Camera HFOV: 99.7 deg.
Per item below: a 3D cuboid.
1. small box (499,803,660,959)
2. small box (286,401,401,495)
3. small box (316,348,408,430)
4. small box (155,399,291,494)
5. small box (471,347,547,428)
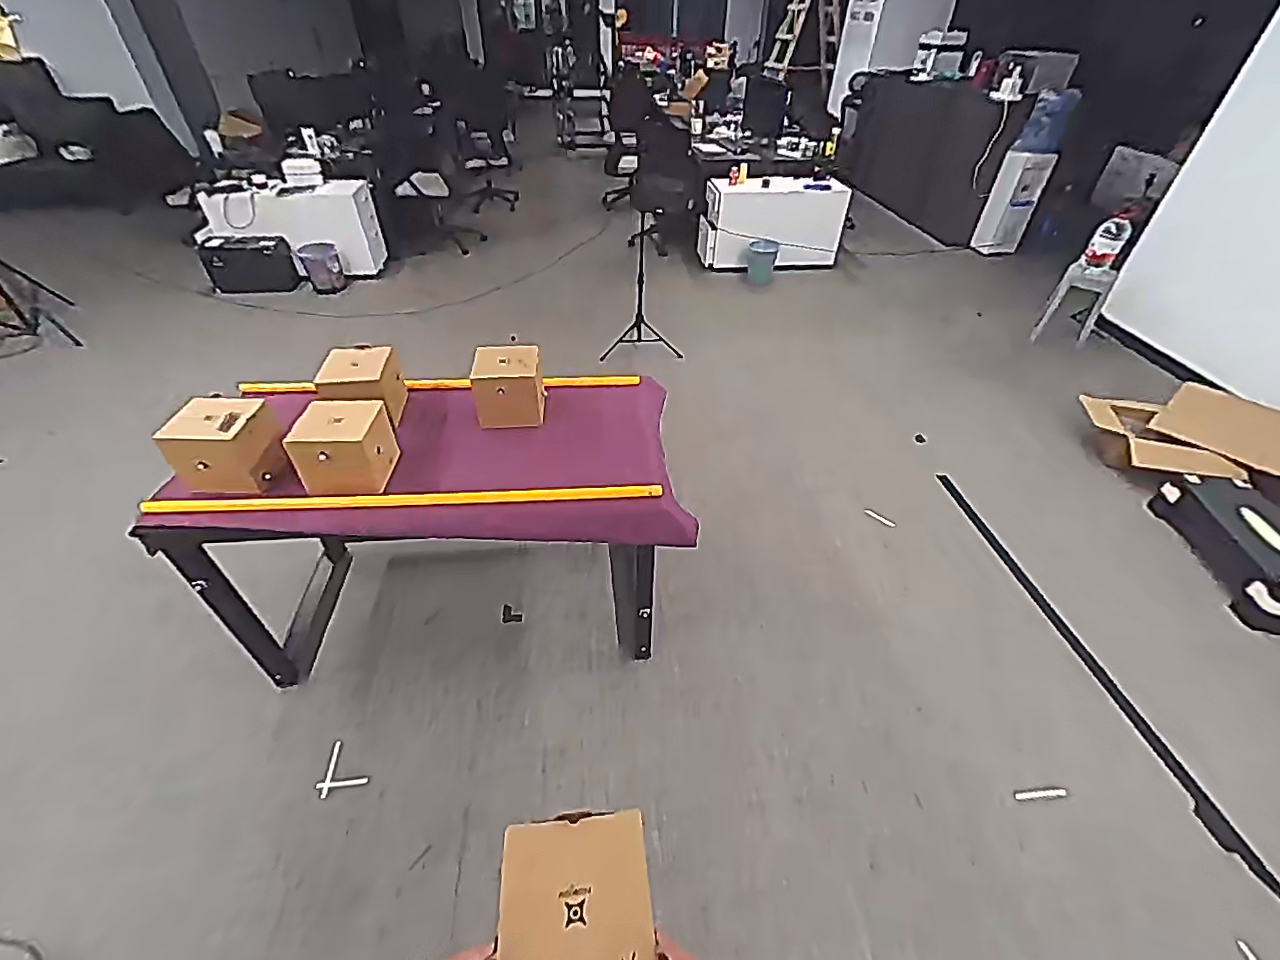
[{"bbox_3d":[-0.068,0.518,0.638,0.168,0.176,0.179,-4,37,-5],"label":"small box"},{"bbox_3d":[-0.707,-0.075,1.317,0.179,0.176,0.168,-1,41,-2],"label":"small box"},{"bbox_3d":[-0.766,-0.252,1.513,0.168,0.176,0.179,-5,43,-6],"label":"small box"},{"bbox_3d":[-0.990,-0.079,1.308,0.179,0.176,0.168,1,42,-1],"label":"small box"},{"bbox_3d":[-0.365,-0.261,1.534,0.179,0.176,0.168,-2,43,-4],"label":"small box"}]
